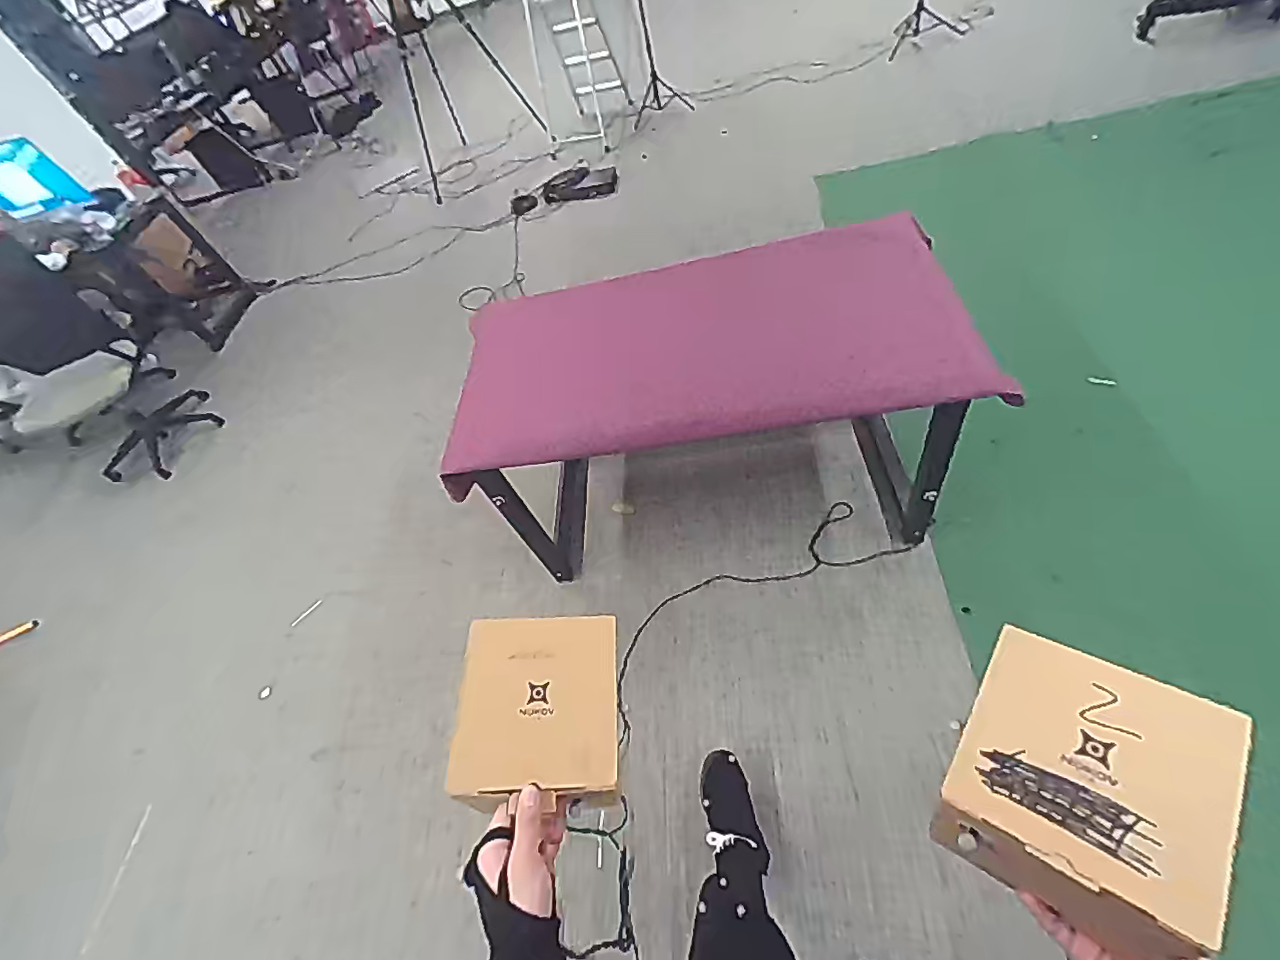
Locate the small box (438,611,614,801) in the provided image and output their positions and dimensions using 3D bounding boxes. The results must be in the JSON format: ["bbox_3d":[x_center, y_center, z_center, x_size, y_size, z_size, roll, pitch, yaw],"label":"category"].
[{"bbox_3d":[-0.115,0.267,0.629,0.168,0.176,0.179,0,53,-2],"label":"small box"}]
